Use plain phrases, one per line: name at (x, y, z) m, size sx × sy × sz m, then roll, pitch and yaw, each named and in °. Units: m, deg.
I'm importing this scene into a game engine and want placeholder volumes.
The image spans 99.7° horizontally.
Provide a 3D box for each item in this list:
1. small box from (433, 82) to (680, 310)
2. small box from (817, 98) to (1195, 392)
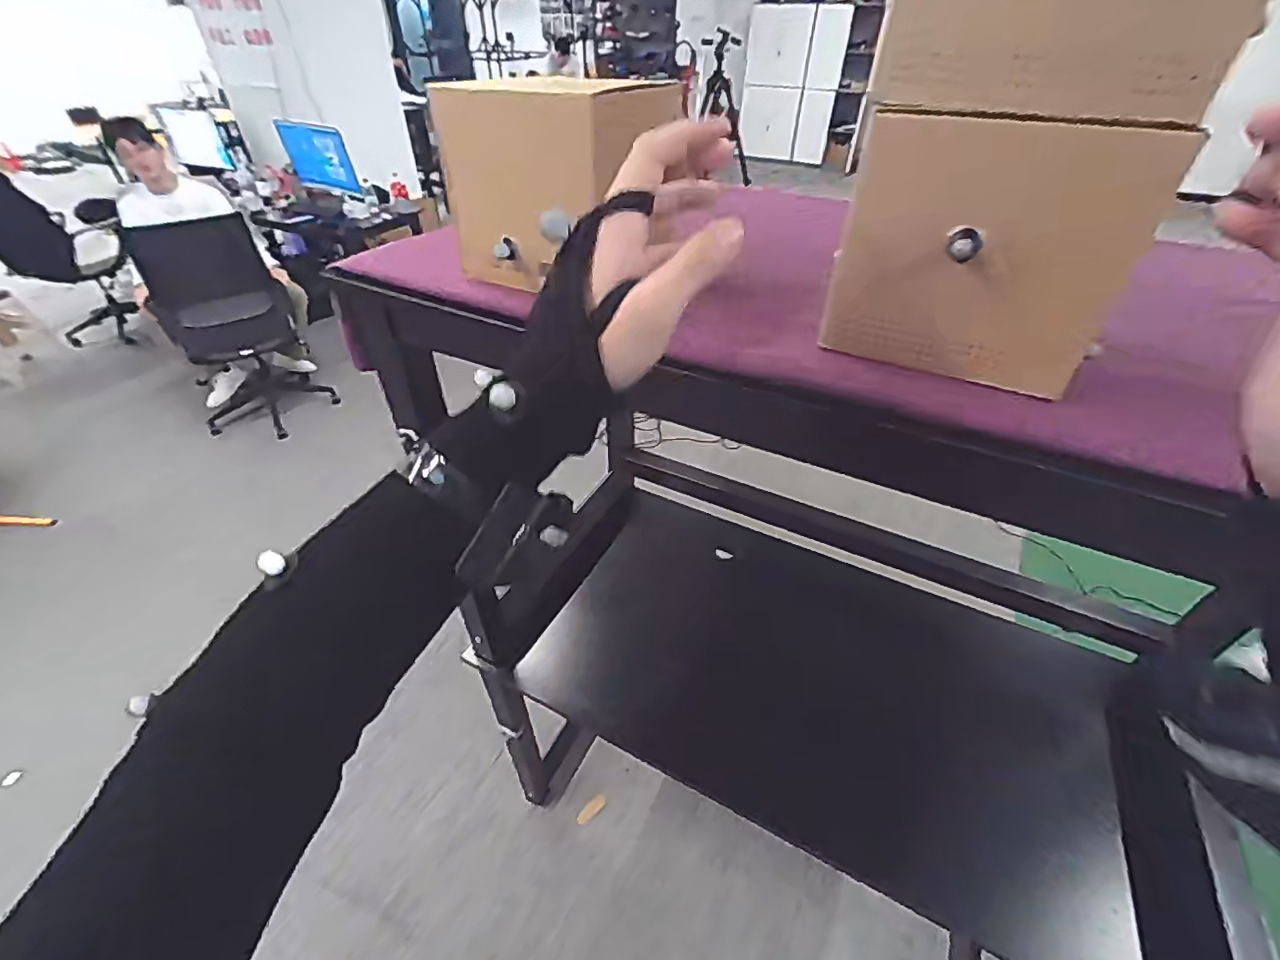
small box at (-0.073, -0.292, 0.547) m, size 0.168 × 0.176 × 0.179 m, roll 18°, pitch 42°, yaw 20°
small box at (0.259, -0.187, 0.422) m, size 0.179 × 0.176 × 0.168 m, roll 19°, pitch 42°, yaw 23°
